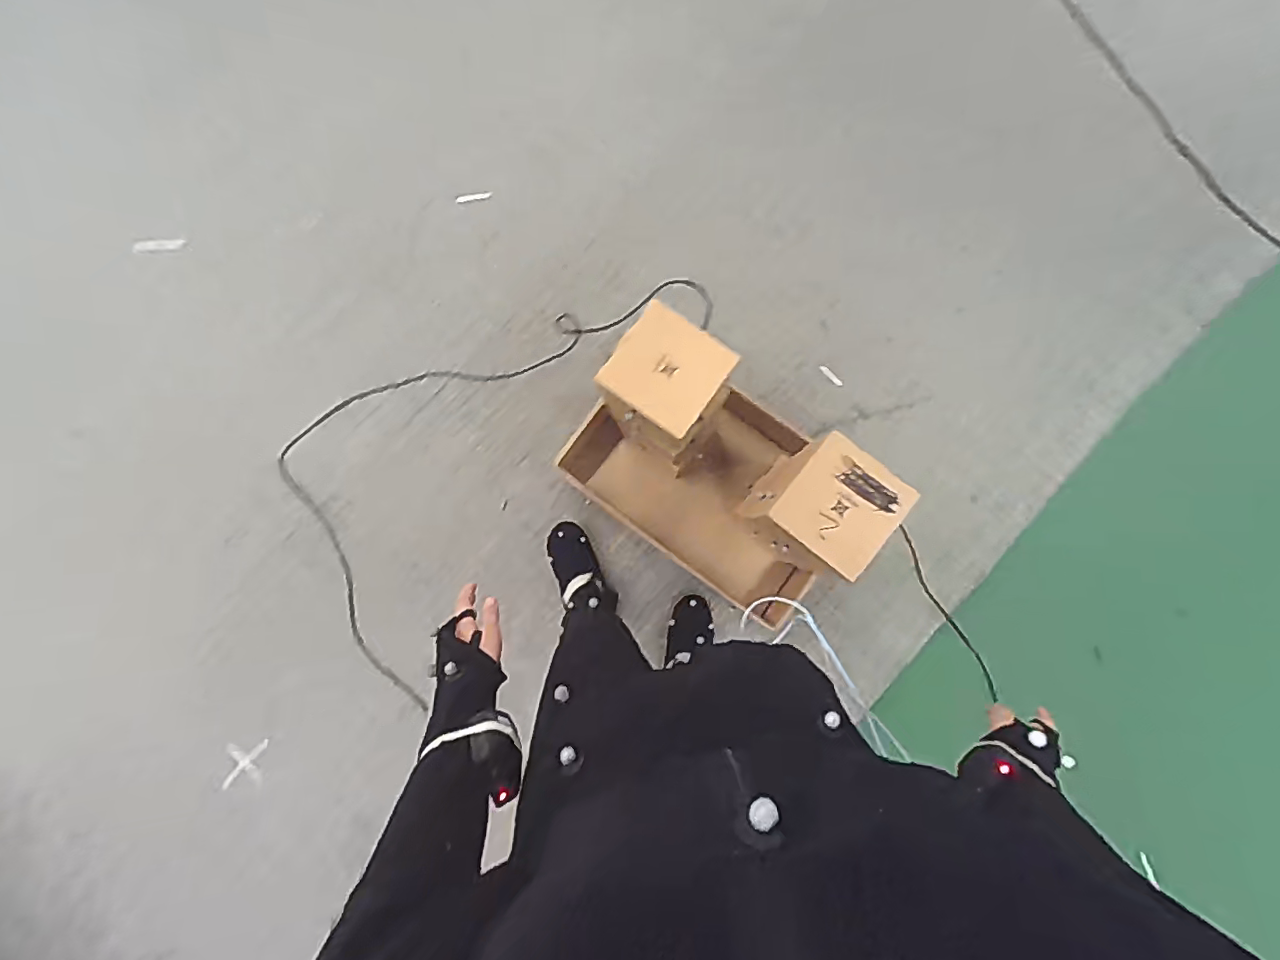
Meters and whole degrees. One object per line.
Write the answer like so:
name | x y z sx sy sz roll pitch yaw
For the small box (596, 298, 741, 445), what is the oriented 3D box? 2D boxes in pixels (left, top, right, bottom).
small box | 0.050 -0.176 0.941 0.179 0.176 0.168 36 87 6

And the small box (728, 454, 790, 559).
small box | 0.320 0.069 1.231 0.179 0.176 0.168 41 86 6

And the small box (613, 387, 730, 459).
small box | 0.055 -0.159 1.102 0.179 0.176 0.168 41 87 5

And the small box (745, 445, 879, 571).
small box | 0.325 0.060 1.067 0.168 0.176 0.179 41 85 5
